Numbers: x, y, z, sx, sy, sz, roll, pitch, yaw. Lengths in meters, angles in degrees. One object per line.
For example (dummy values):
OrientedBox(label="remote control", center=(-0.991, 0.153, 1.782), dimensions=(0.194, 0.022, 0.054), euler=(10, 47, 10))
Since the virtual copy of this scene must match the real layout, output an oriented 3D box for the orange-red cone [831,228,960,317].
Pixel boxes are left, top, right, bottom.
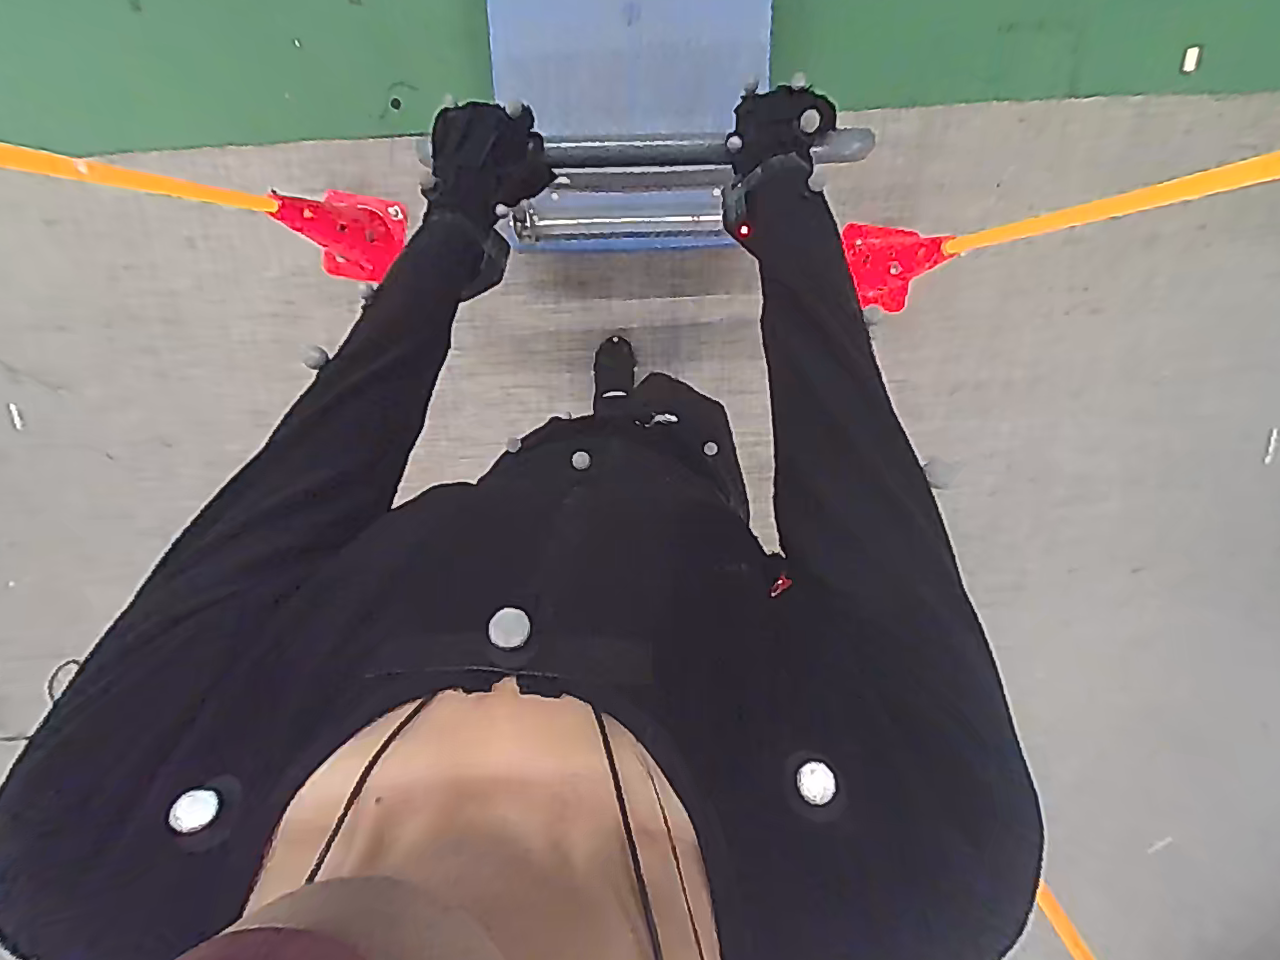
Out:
OrientedBox(label="orange-red cone", center=(0.601, -0.485, 1.212), dimensions=(0.198, 0.360, 0.199), euler=(8, 105, -2))
